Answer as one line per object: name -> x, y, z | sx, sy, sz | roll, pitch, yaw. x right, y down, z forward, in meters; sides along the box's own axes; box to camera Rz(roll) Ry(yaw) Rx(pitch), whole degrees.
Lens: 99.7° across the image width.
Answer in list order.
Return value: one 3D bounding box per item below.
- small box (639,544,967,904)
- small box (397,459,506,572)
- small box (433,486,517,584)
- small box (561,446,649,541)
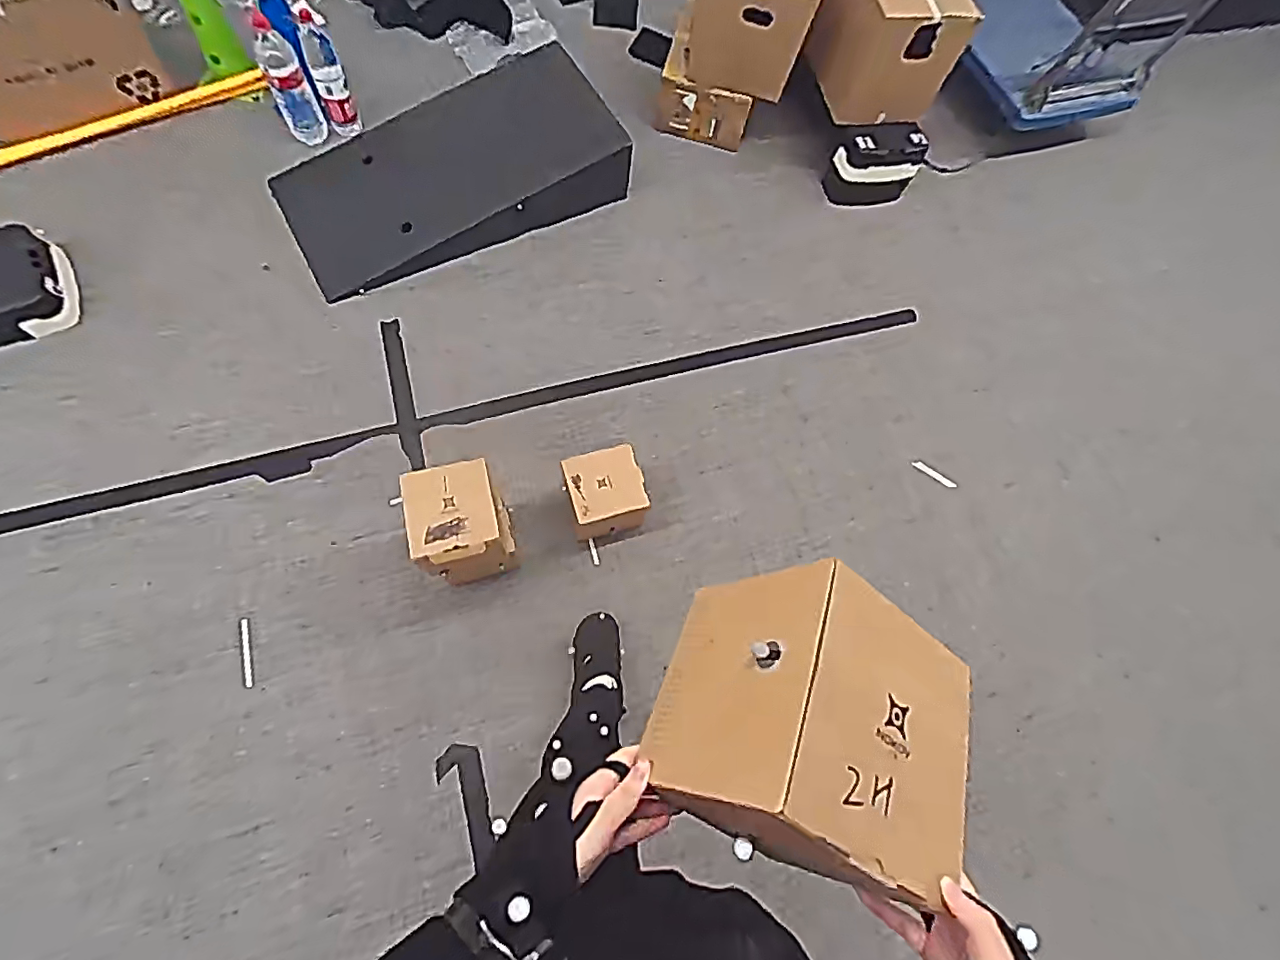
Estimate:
small box -> 0.125, 0.181, 0.427 | 0.168, 0.176, 0.179 | 38, 55, -16
small box -> -0.377, 0.081, 1.103 | 0.168, 0.176, 0.179 | -12, 71, -12
small box -> -0.390, 0.132, 1.258 | 0.179, 0.176, 0.168 | -15, 73, -13
small box -> -0.093, 0.037, 1.332 | 0.179, 0.176, 0.168 | -14, 72, -13
